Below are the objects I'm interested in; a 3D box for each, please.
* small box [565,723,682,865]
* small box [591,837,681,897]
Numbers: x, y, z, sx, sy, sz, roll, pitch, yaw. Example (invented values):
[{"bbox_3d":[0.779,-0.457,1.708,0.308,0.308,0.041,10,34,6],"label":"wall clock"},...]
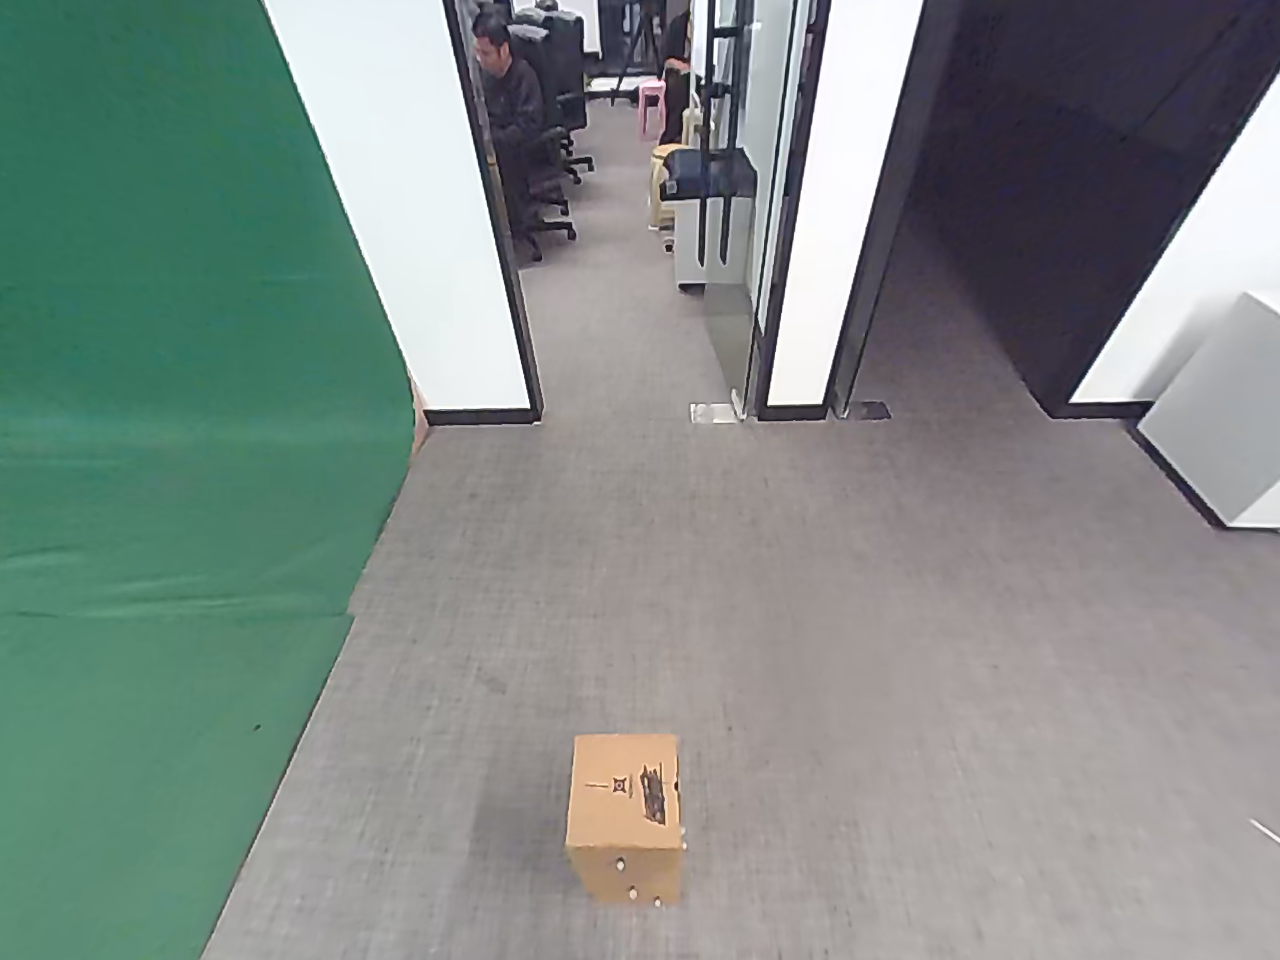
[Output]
[{"bbox_3d":[-0.020,0.538,0.925,0.179,0.176,0.168,1,43,4],"label":"small box"},{"bbox_3d":[-0.002,0.775,1.156,0.179,0.176,0.168,-2,44,3],"label":"small box"}]
